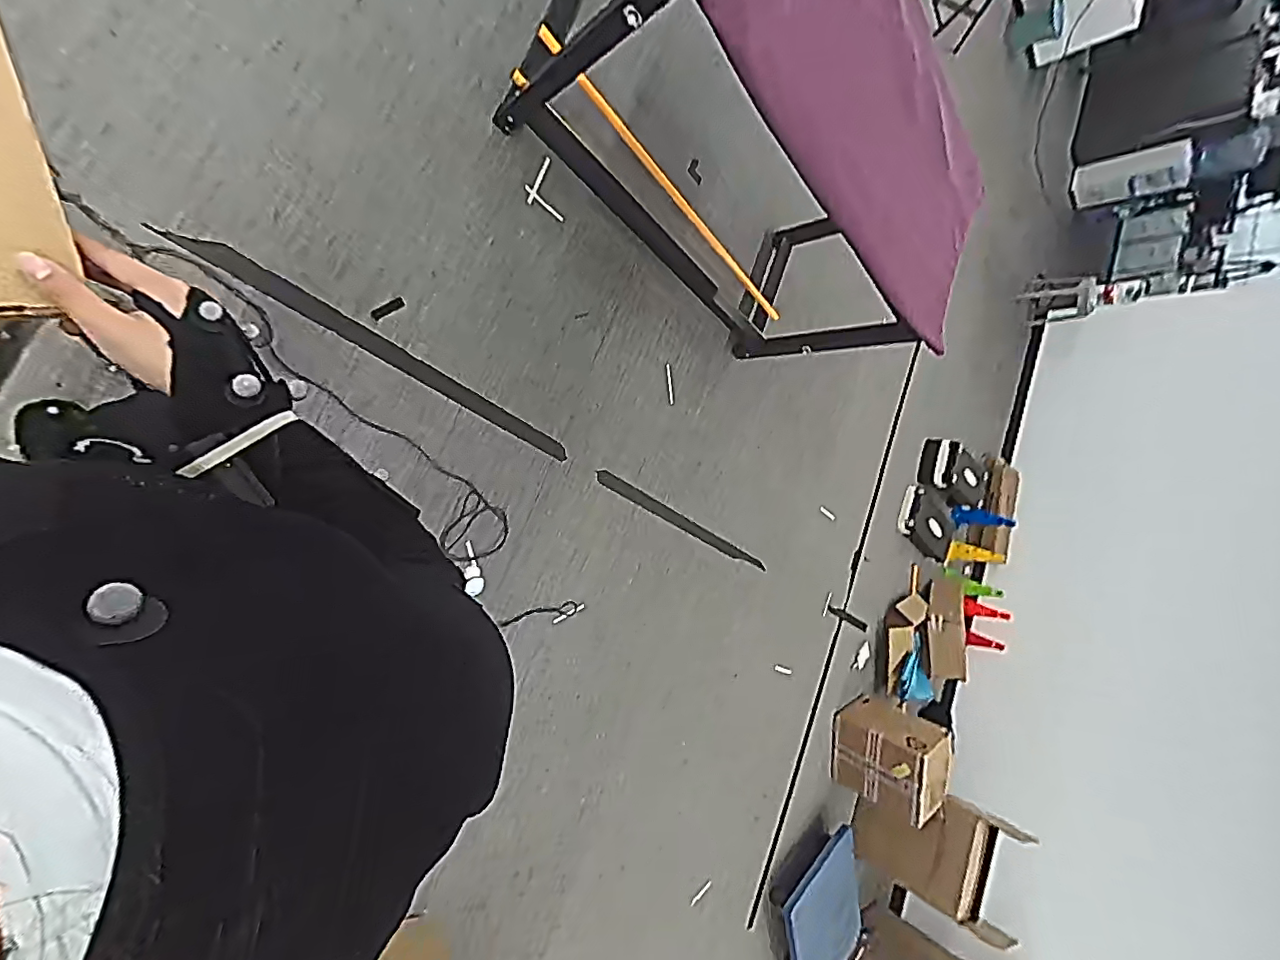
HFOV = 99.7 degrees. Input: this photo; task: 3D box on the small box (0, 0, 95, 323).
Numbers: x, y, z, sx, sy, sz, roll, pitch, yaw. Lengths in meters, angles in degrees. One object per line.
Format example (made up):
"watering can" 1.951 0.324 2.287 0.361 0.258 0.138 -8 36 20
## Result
"small box" -0.450 -0.179 0.305 0.168 0.176 0.179 -20 114 -45
